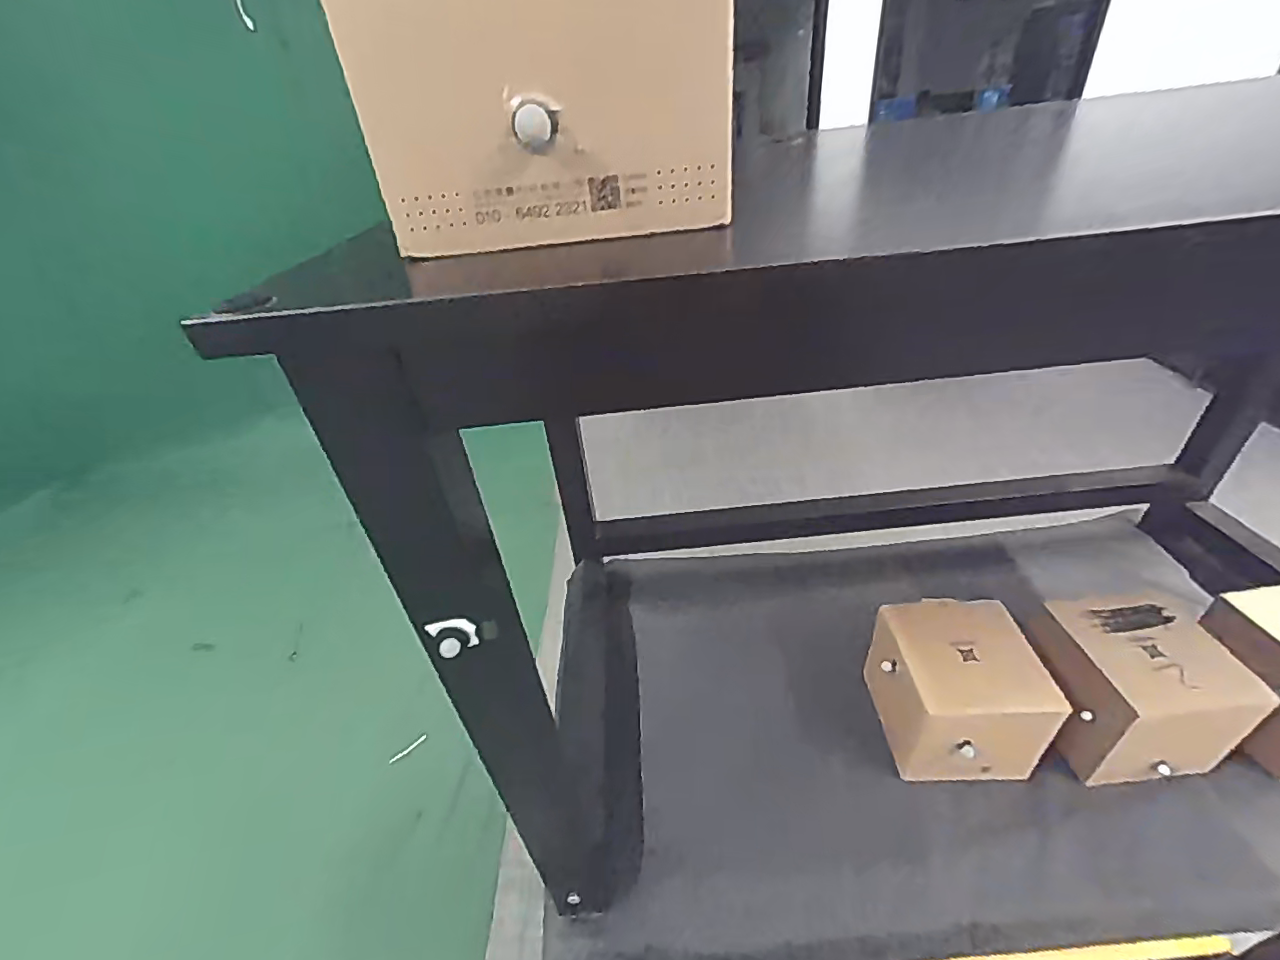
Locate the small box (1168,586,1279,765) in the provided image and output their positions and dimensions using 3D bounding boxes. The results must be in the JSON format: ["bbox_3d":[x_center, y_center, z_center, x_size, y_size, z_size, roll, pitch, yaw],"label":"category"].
[{"bbox_3d":[0.882,0.261,0.716,0.168,0.176,0.179,-6,35,0],"label":"small box"}]

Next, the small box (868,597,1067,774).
[{"bbox_3d":[0.437,0.289,0.757,0.168,0.176,0.179,-3,35,5],"label":"small box"}]

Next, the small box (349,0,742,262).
[{"bbox_3d":[-0.043,-0.228,0.292,0.168,0.176,0.179,-6,36,0],"label":"small box"}]
